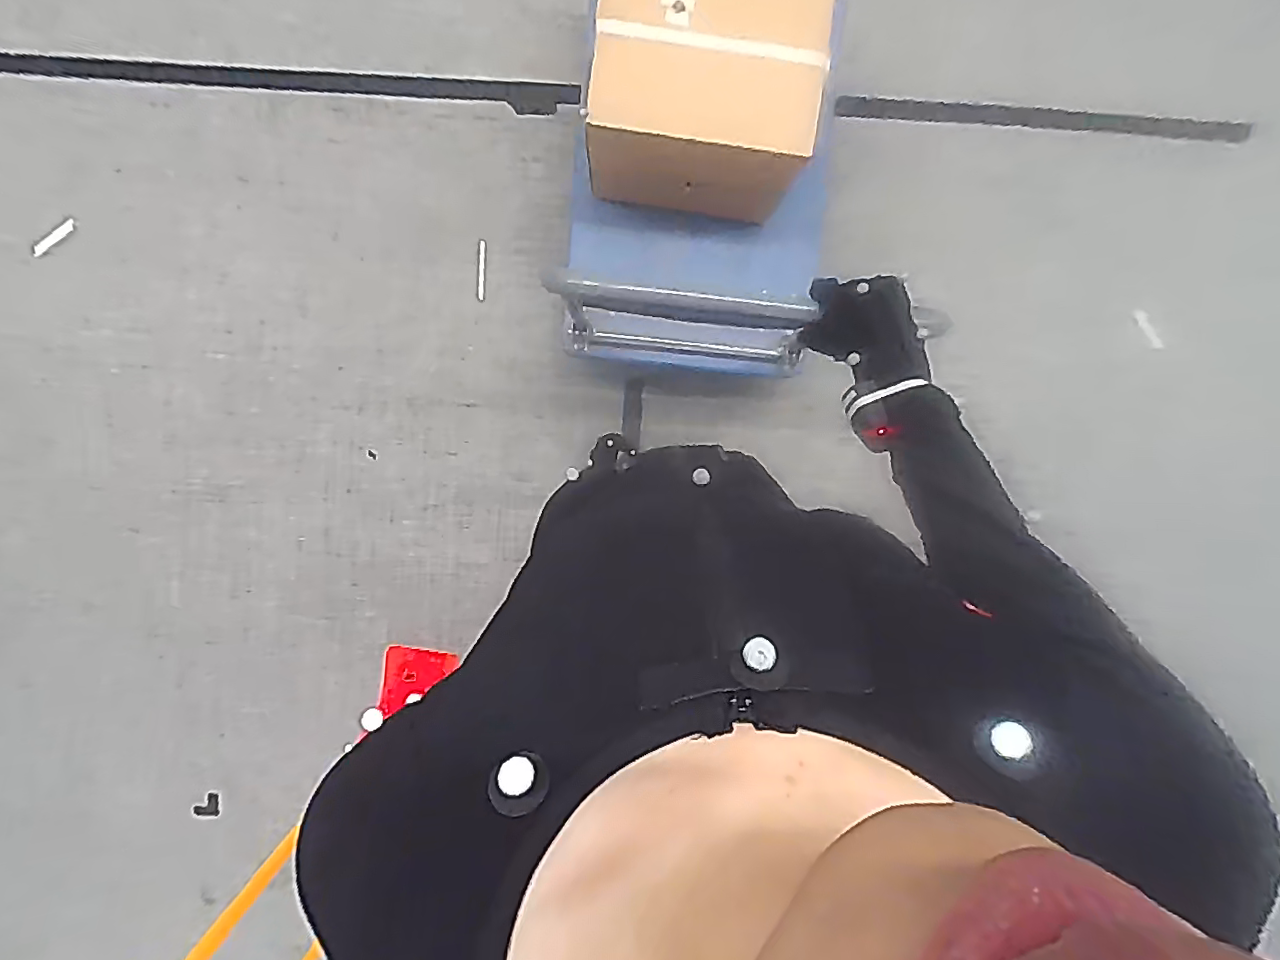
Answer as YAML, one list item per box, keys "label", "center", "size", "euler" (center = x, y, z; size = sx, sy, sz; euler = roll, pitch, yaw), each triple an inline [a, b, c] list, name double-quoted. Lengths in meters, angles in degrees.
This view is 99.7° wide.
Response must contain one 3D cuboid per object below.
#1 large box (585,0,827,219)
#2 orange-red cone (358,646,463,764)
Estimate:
- label: "large box"
  center: [0.115, -0.756, 1.088]
  size: [0.408, 0.320, 0.320]
  euler: [7, 95, -2]
- label: "orange-red cone"
  center: [-0.597, 0.579, 1.334]
  size: [0.198, 0.360, 0.199]
  euler: [10, 93, -3]
